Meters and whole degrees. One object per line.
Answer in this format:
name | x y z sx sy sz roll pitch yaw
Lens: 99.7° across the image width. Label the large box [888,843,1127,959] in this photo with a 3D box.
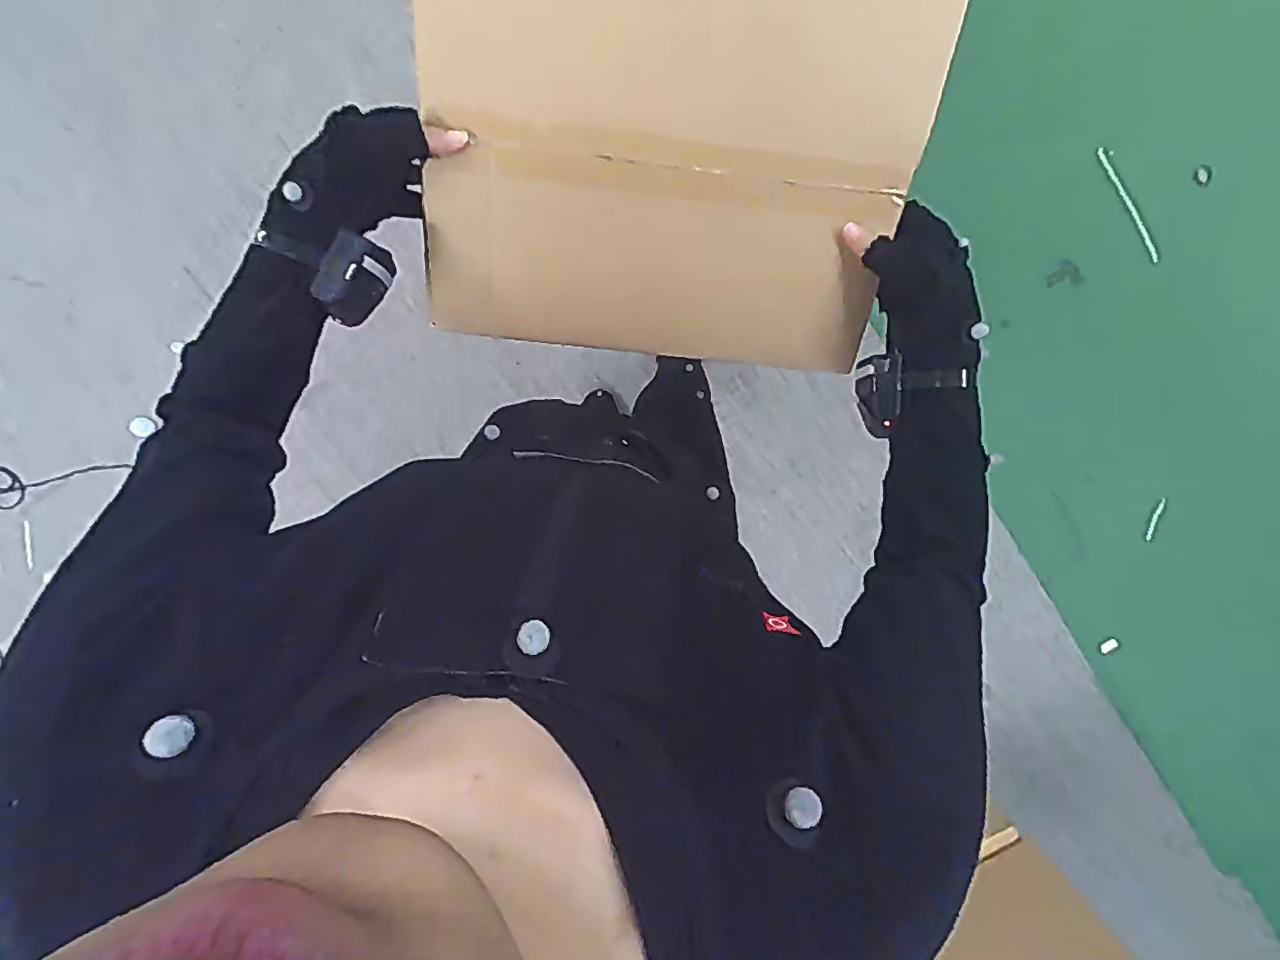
large box | 0.848 1.110 1.178 0.408 0.320 0.320 -35 101 7
